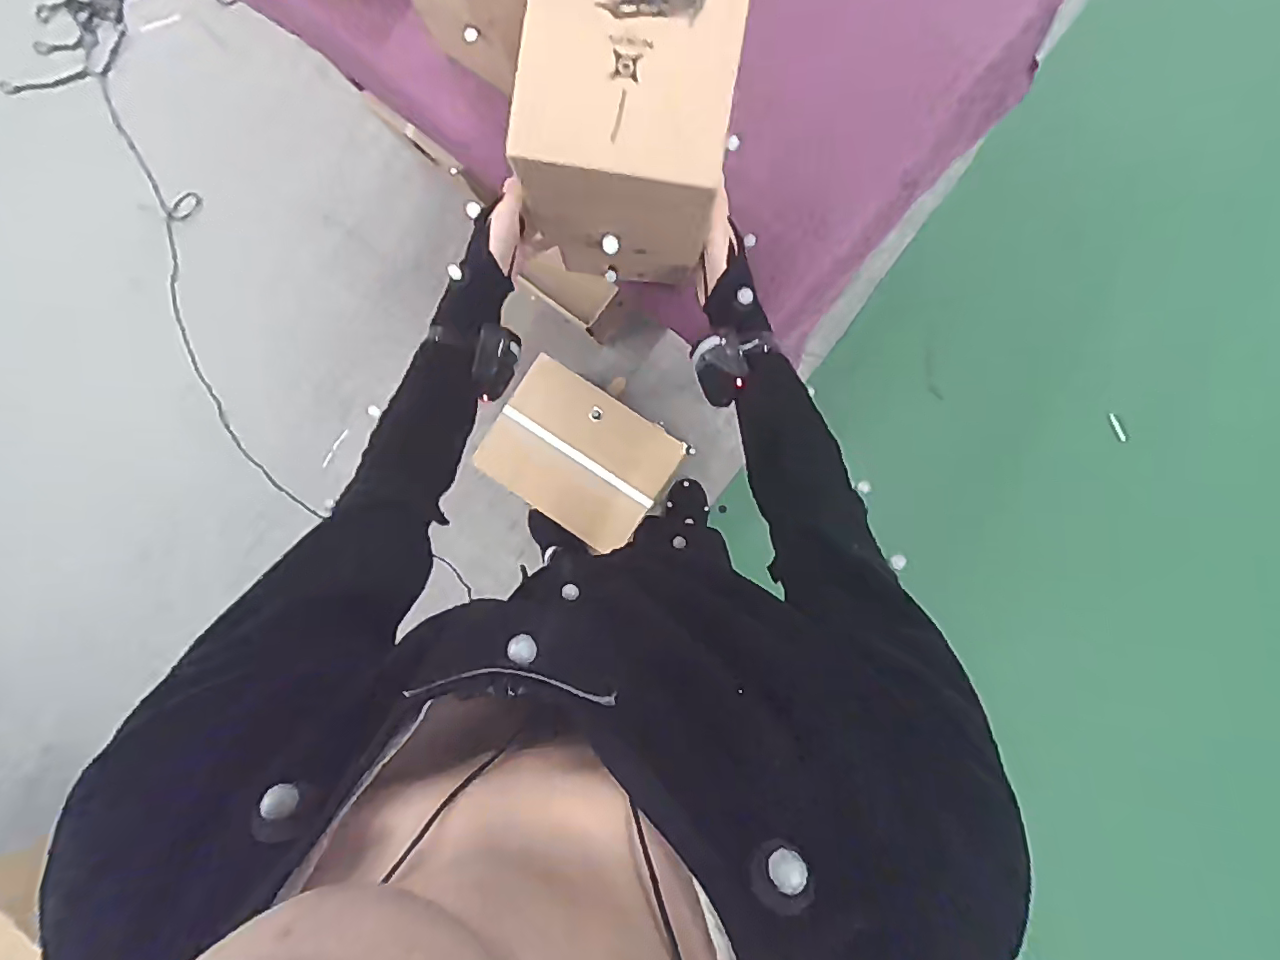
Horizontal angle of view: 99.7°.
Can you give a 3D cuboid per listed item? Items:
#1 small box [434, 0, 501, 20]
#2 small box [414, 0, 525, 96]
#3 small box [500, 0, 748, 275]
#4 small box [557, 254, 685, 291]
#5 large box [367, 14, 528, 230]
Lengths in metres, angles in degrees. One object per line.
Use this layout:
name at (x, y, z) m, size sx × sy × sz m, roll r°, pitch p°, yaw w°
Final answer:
small box at (-0.211, -0.619, 0.531) m, size 0.179 × 0.176 × 0.168 m, roll 36°, pitch 95°, yaw 5°
small box at (-0.177, -0.633, 0.692) m, size 0.179 × 0.176 × 0.168 m, roll 37°, pitch 94°, yaw 5°
small box at (-0.012, -0.308, 0.480) m, size 0.168 × 0.176 × 0.179 m, roll 9°, pitch 93°, yaw 0°
small box at (-0.017, -0.345, 0.644) m, size 0.168 × 0.176 × 0.179 m, roll 5°, pitch 93°, yaw -2°
large box at (-0.388, -0.946, 1.379) m, size 0.320 × 0.320 × 0.408 m, roll 37°, pitch 97°, yaw 4°
